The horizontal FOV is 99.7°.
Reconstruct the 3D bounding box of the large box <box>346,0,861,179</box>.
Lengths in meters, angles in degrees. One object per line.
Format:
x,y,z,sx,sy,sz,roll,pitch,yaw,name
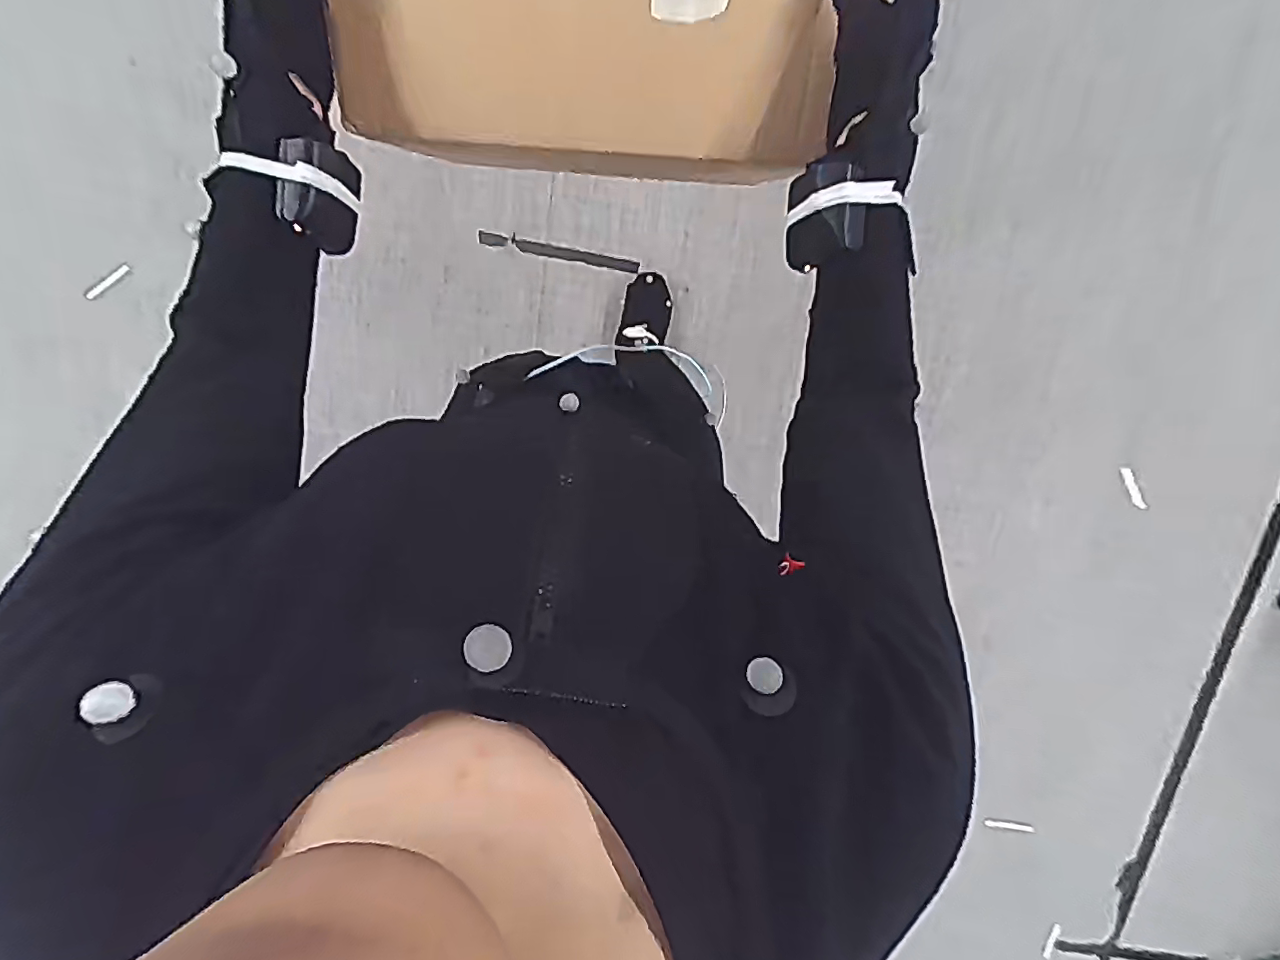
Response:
-0.029,-0.487,0.524,0.408,0.320,0.320,2,116,-3,large box
